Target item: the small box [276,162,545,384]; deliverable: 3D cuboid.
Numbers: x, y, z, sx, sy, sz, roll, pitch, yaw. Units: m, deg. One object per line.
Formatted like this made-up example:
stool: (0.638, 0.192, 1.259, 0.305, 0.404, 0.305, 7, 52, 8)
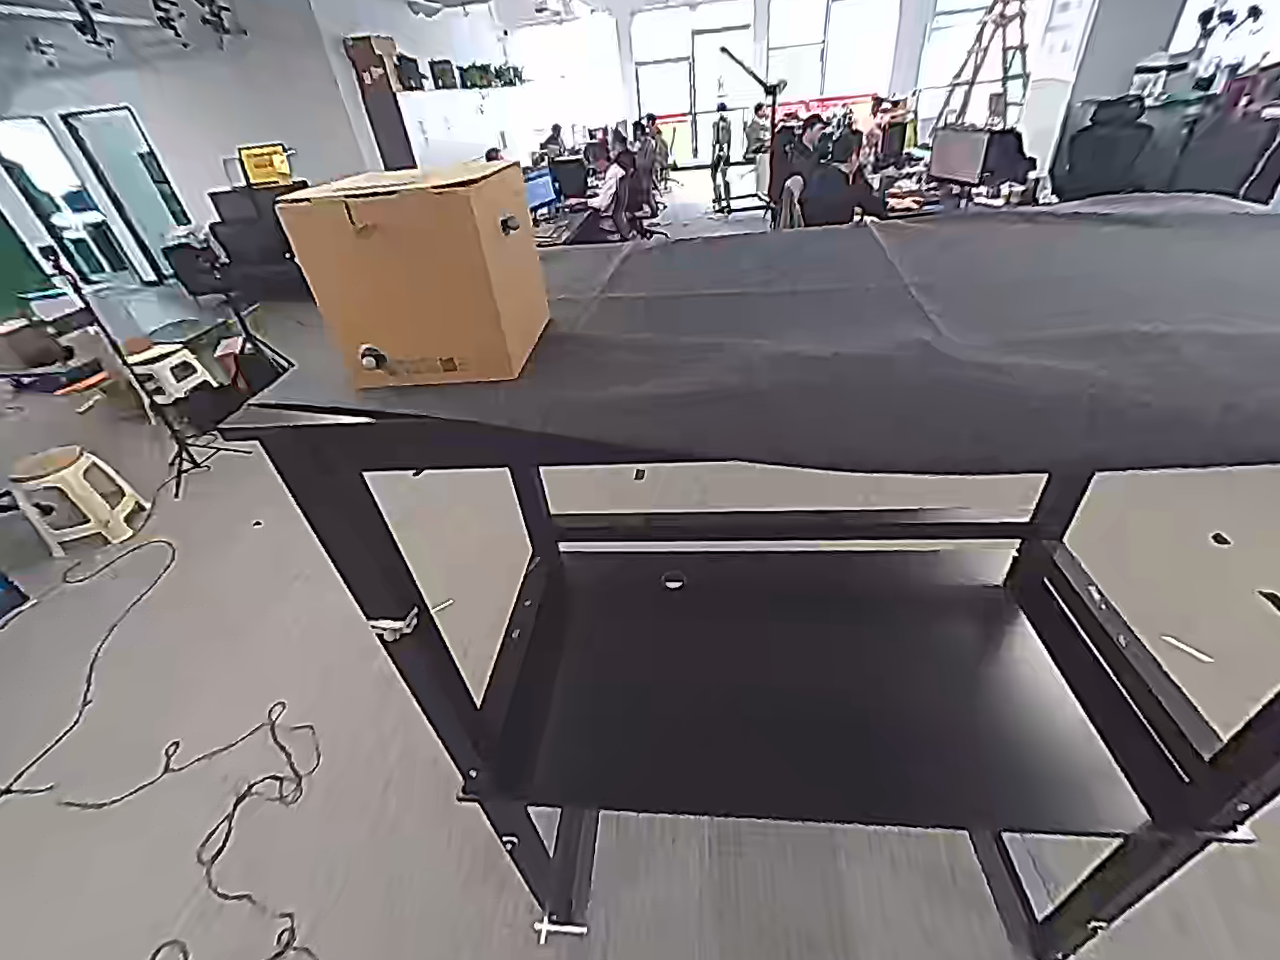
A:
small box: (-0.201, -0.203, 0.540, 0.168, 0.176, 0.179, -2, 36, 6)
